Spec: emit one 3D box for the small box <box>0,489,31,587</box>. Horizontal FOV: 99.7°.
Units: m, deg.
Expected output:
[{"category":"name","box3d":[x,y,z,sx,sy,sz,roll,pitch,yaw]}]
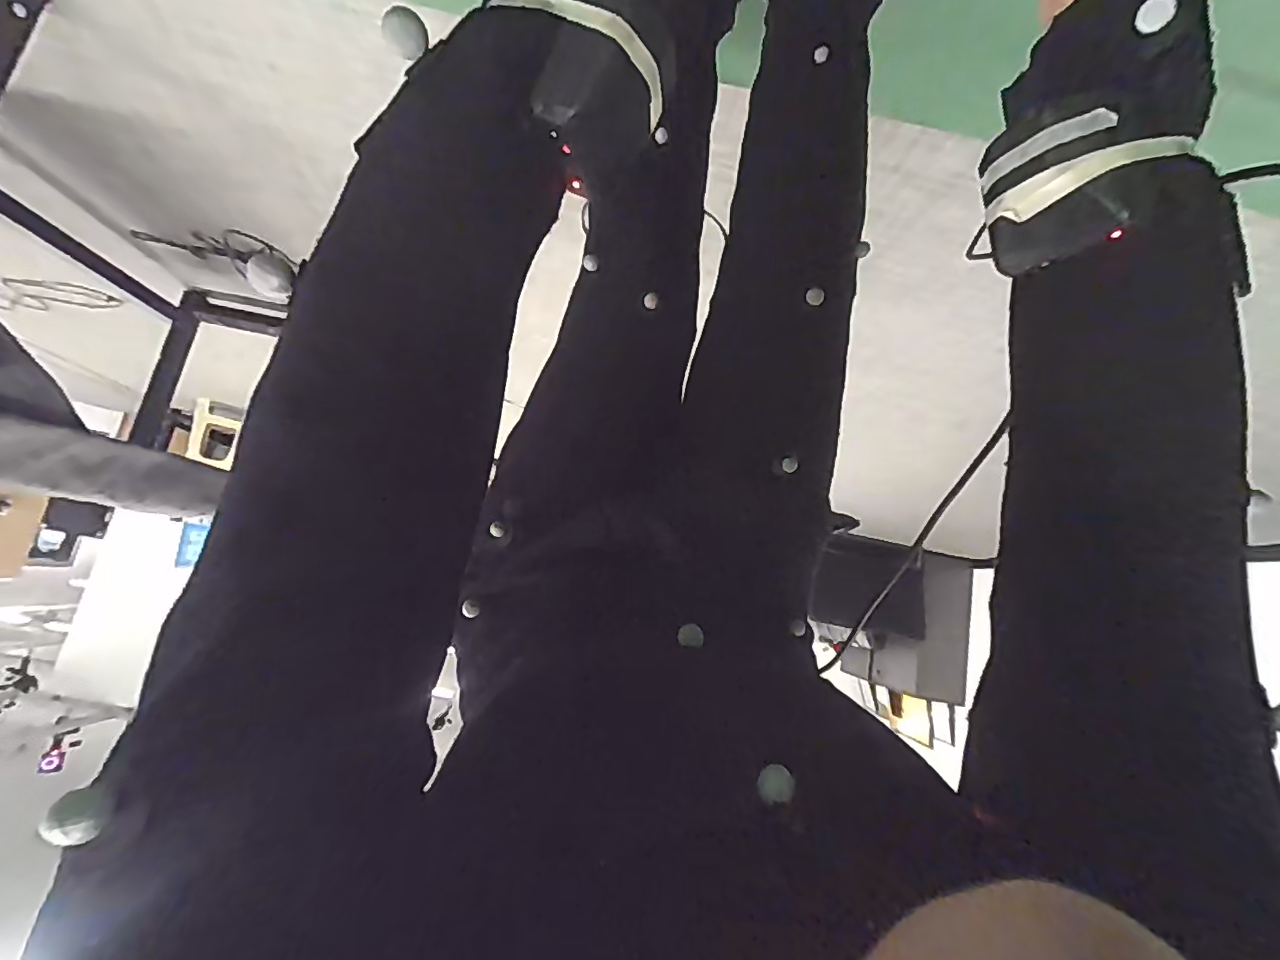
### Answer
[{"category":"small box","box3d":[-1.184,0.078,0.888,0.179,0.176,0.168,9,170,3]}]
